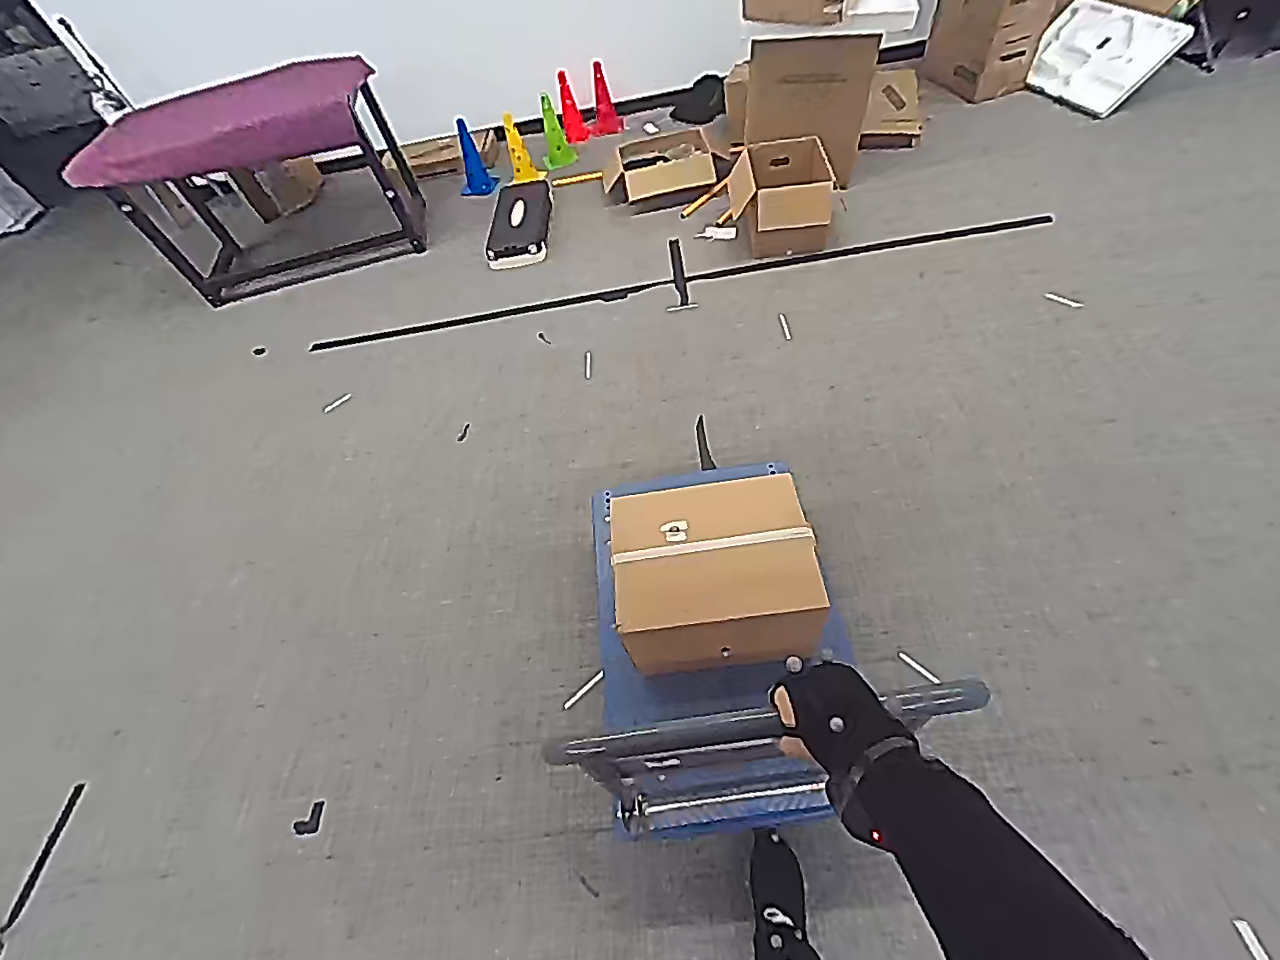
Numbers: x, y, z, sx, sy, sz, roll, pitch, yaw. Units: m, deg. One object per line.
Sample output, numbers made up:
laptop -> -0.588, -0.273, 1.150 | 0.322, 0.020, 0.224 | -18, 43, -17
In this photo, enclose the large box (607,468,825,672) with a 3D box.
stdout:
large box -> 0.161, 0.214, 1.219 | 0.408, 0.320, 0.320 | -10, 53, 5
